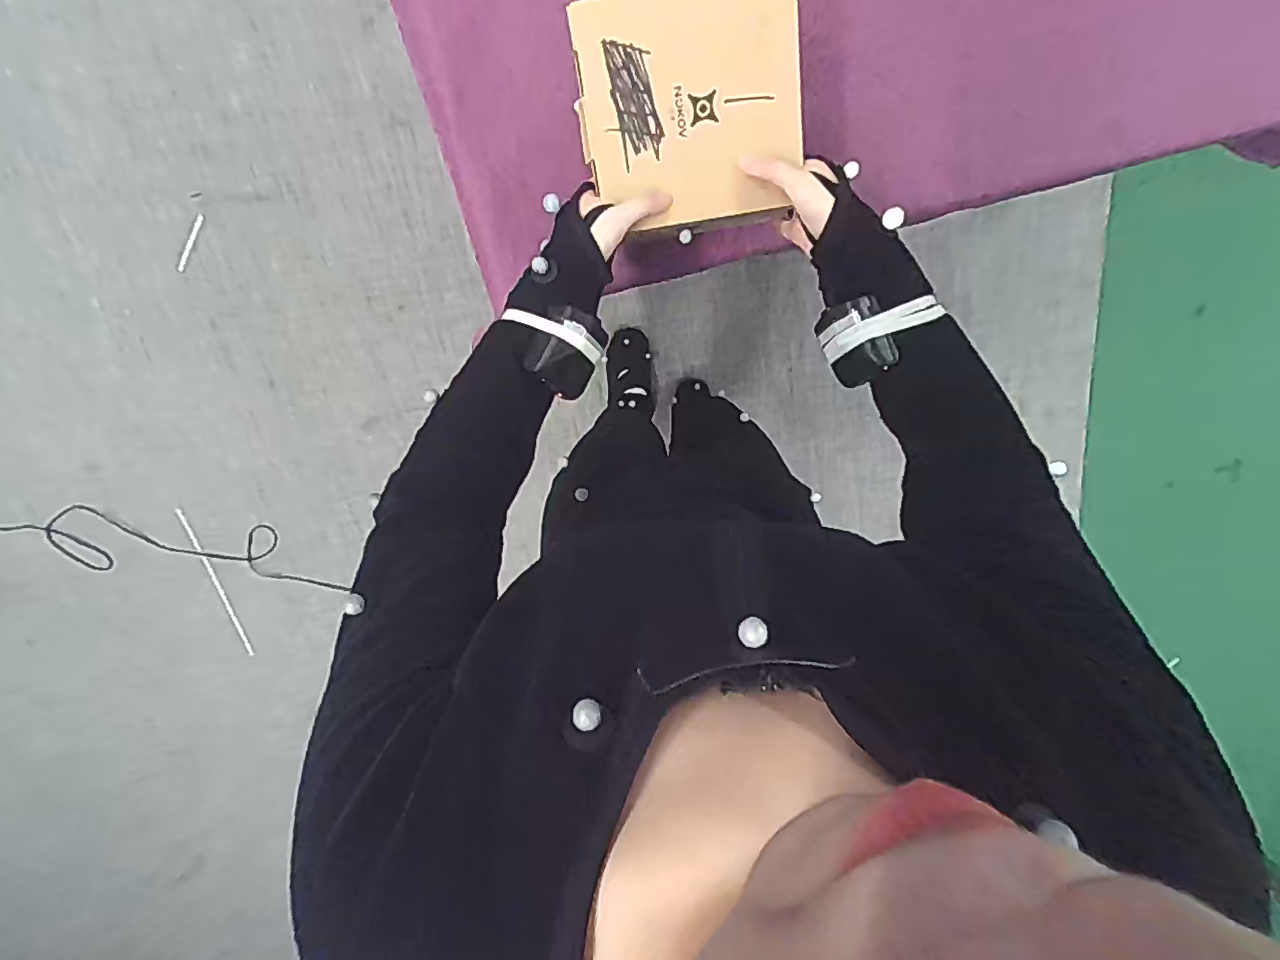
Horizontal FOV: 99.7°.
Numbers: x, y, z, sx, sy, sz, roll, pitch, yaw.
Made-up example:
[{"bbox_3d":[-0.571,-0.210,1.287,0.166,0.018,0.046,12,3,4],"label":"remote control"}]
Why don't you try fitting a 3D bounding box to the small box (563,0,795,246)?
[{"bbox_3d":[0.037,-0.326,0.516,0.179,0.176,0.168,-8,110,2],"label":"small box"}]
